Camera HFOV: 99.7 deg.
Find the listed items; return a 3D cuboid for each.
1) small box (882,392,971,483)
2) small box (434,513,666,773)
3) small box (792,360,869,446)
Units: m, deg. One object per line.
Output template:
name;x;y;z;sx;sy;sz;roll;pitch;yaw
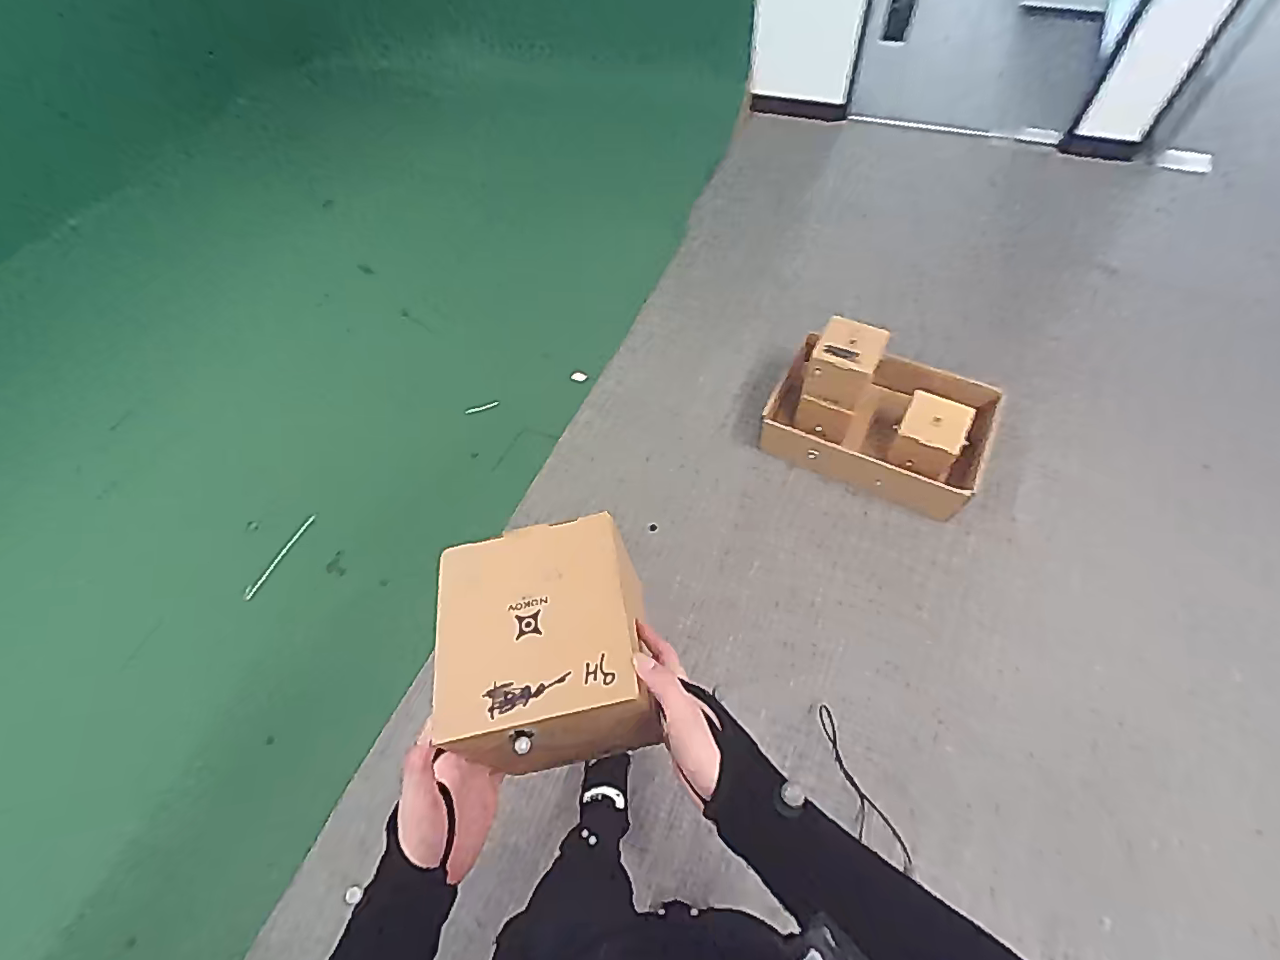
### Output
small box;0.845;-0.124;1.608;0.168;0.176;0.179;25;67;19
small box;-0.076;0.161;0.524;0.168;0.176;0.179;-13;52;3
small box;0.593;-0.239;1.701;0.168;0.176;0.179;24;65;18
